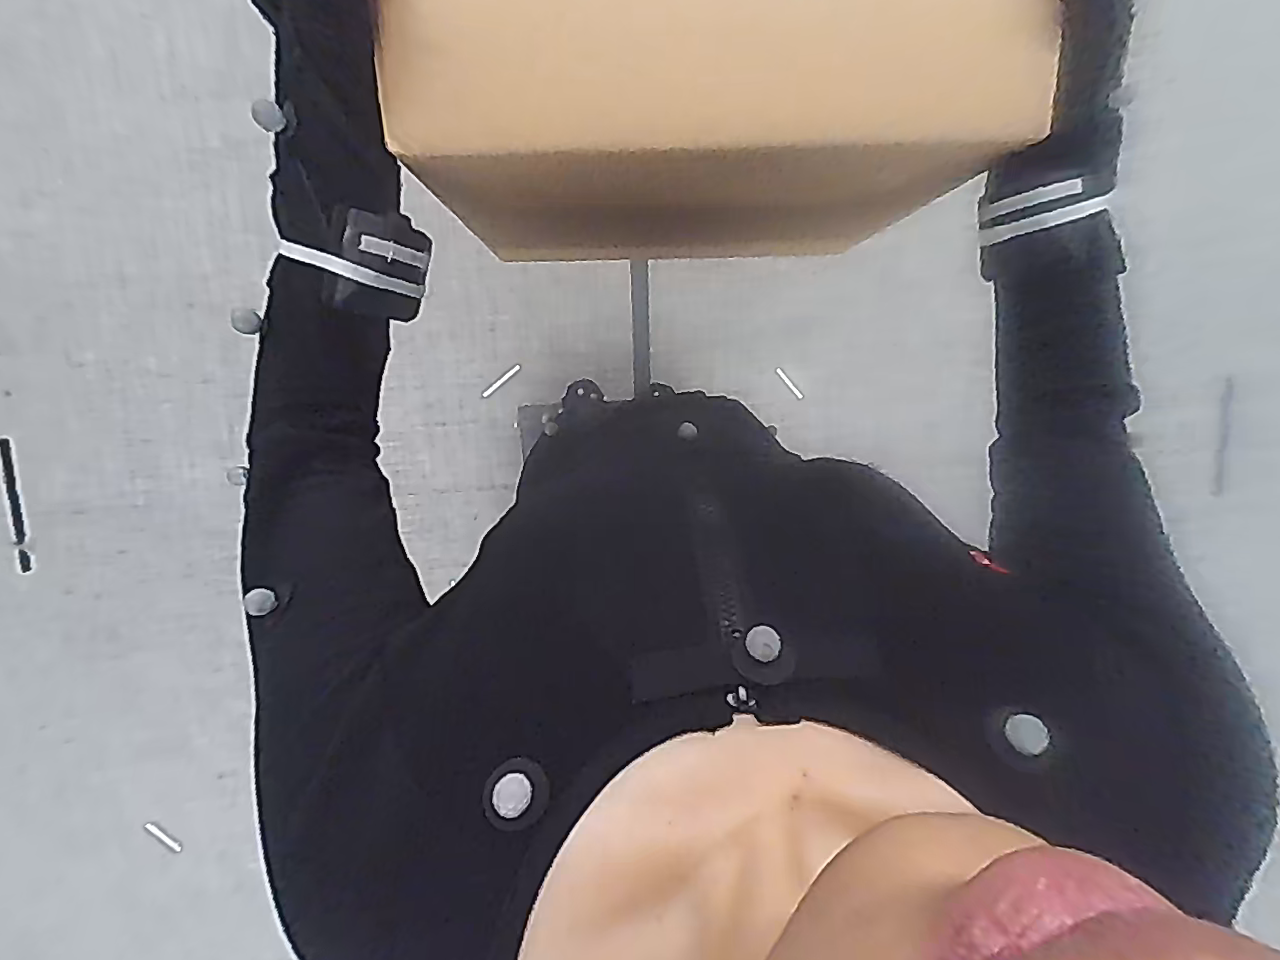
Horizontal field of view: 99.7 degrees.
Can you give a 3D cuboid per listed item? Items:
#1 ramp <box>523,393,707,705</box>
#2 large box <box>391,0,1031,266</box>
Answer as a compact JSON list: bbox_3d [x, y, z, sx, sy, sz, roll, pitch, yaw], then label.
[{"bbox_3d":[-0.046,0.247,1.610,0.509,0.206,0.991,-5,99,-2],"label":"ramp"},{"bbox_3d":[0.036,-0.388,0.467,0.408,0.320,0.320,-3,100,-2],"label":"large box"}]
